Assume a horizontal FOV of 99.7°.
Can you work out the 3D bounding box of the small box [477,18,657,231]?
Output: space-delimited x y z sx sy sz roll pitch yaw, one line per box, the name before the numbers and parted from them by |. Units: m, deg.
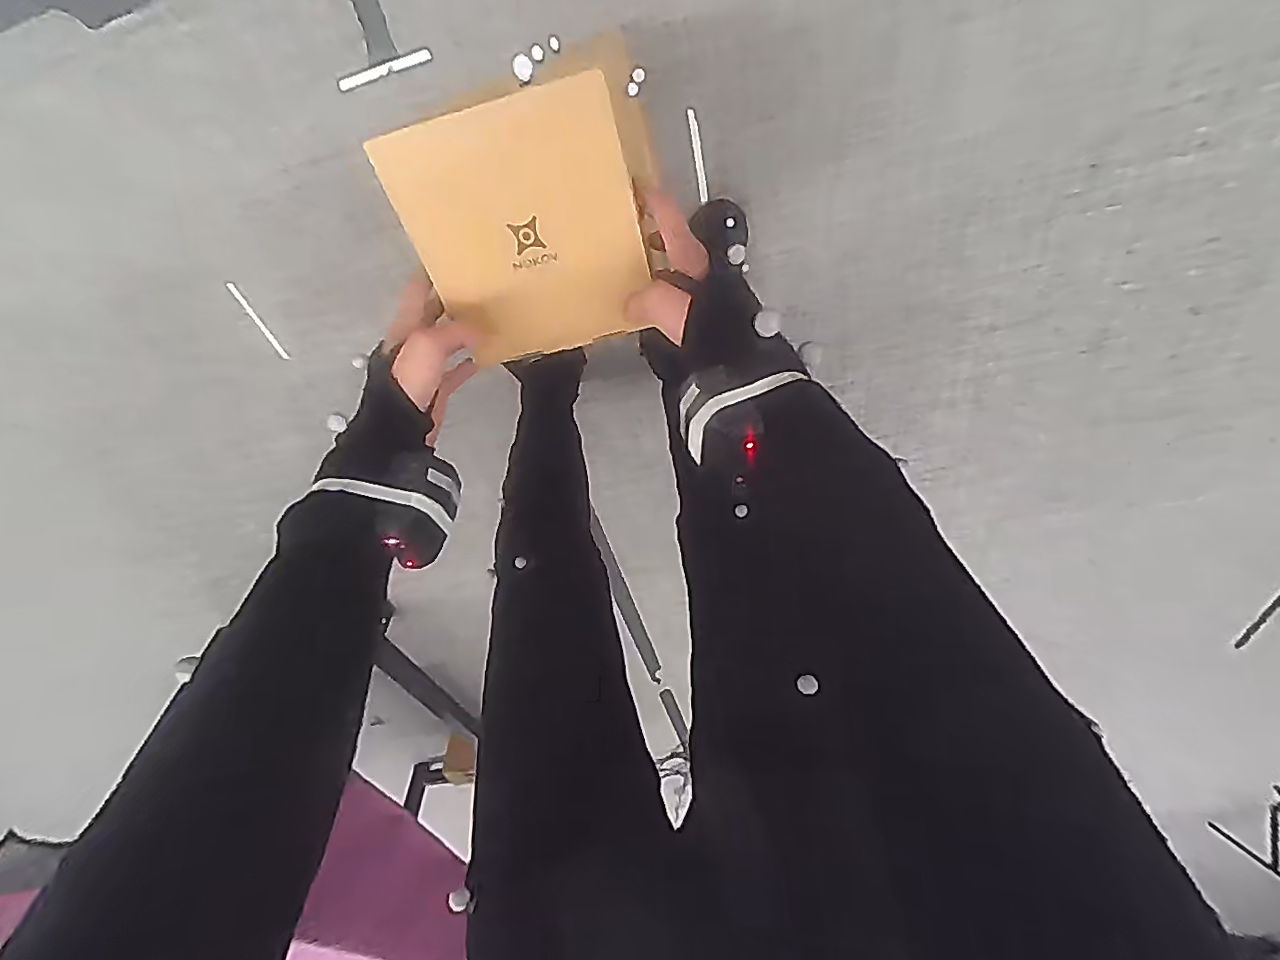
small box | -0.081 -0.455 0.689 0.168 0.176 0.179 -12 134 11
